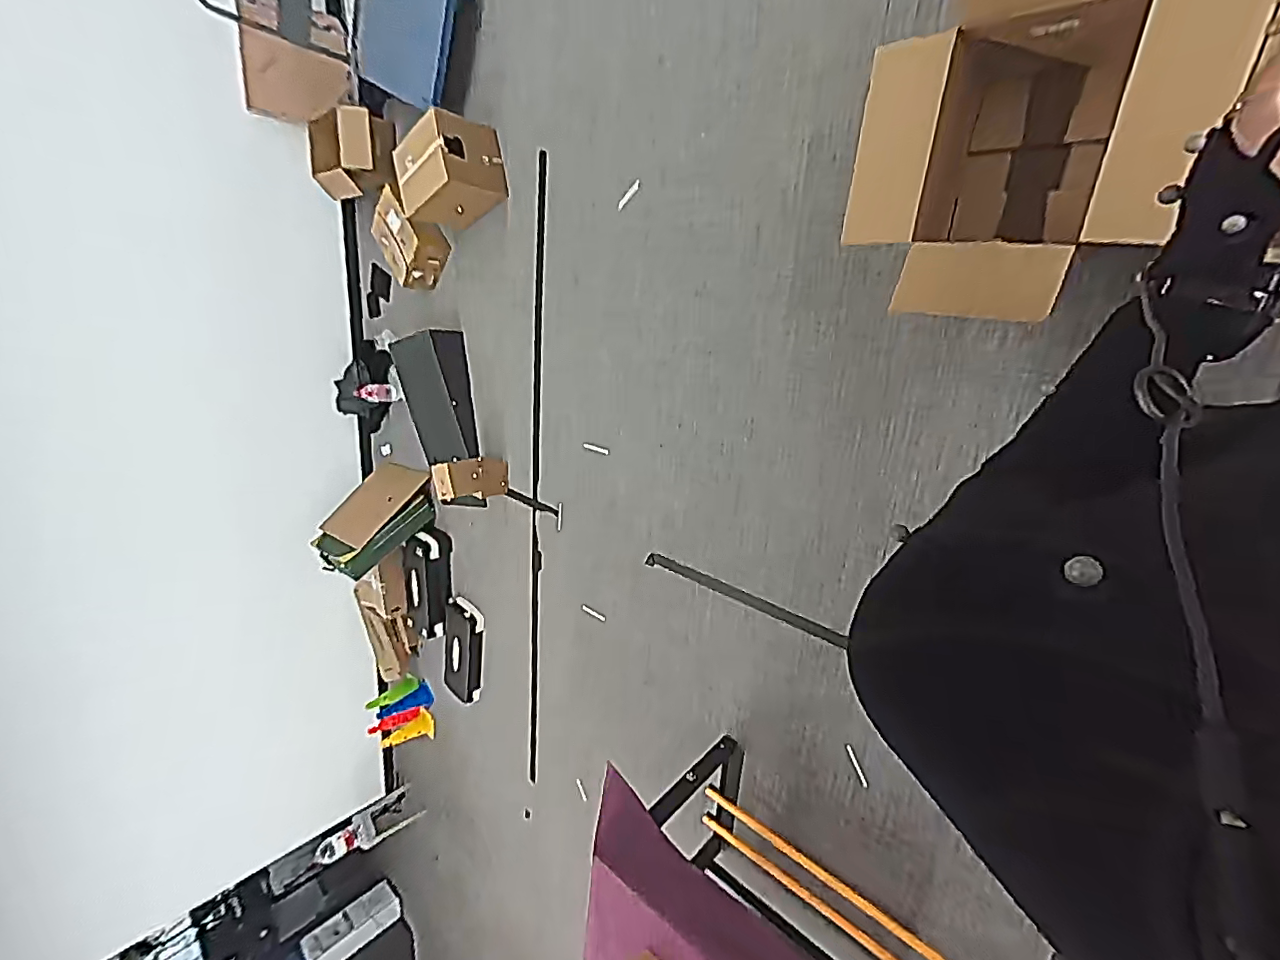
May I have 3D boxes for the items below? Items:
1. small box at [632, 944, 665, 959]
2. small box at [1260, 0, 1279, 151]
[{"bbox_3d":[0.024,1.423,1.455,0.179,0.176,0.168,18,112,39],"label":"small box"},{"bbox_3d":[0.604,-0.372,0.395,0.179,0.176,0.168,6,105,44],"label":"small box"}]
